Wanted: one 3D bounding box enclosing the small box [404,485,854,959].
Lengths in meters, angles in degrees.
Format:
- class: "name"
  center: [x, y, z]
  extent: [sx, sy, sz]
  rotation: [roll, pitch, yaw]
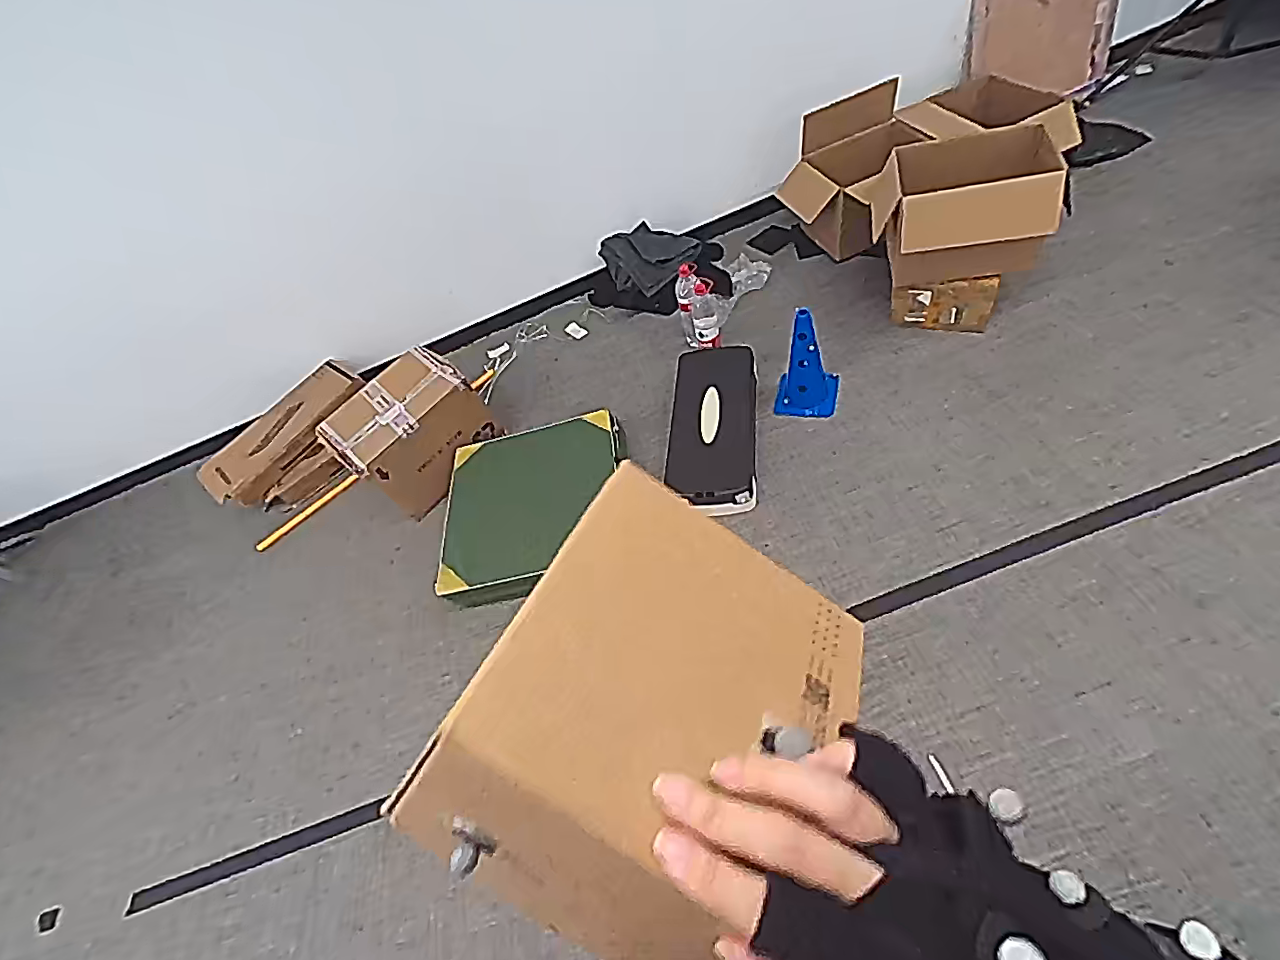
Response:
- class: "small box"
  center: [-0.006, 0.144, 0.316]
  extent: [0.176, 0.179, 0.168]
  rotation: [33, 45, -3]
